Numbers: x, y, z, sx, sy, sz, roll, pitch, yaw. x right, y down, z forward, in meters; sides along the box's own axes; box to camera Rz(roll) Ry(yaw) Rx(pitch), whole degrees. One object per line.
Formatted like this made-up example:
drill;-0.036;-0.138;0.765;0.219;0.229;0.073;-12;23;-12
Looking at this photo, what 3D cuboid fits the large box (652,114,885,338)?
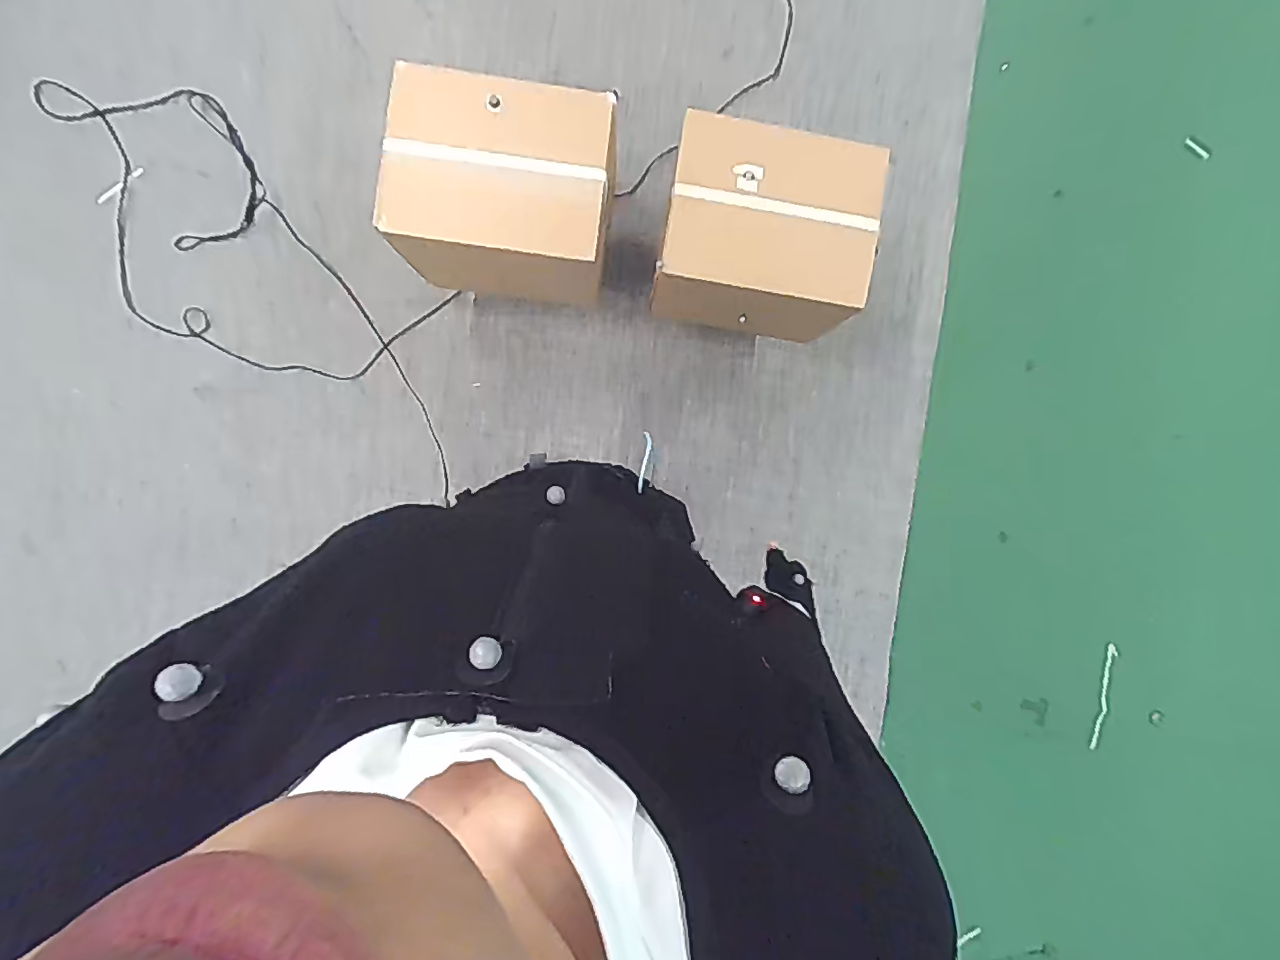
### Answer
large box;0.254;-0.524;1.191;0.408;0.320;0.320;10;91;-3
